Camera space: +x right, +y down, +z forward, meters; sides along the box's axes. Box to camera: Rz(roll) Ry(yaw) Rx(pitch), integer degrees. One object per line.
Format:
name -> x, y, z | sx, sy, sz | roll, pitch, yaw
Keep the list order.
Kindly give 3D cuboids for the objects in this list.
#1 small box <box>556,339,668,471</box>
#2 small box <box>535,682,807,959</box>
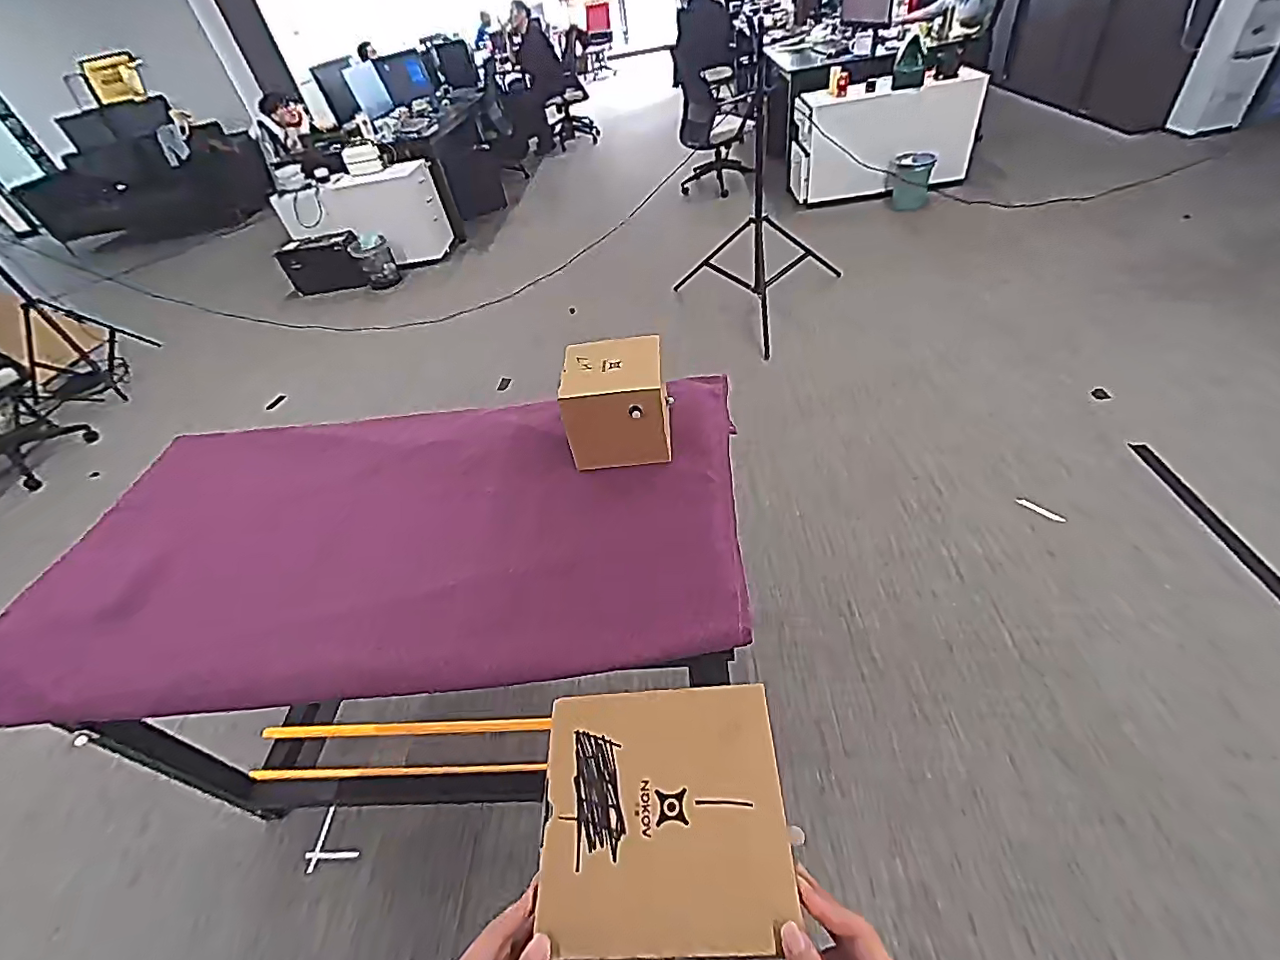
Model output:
small box -> -0.041, -0.133, 0.989 | 0.179, 0.176, 0.168 | -5, 44, 6
small box -> 0.031, 0.284, 0.445 | 0.179, 0.176, 0.168 | -7, 48, 7
